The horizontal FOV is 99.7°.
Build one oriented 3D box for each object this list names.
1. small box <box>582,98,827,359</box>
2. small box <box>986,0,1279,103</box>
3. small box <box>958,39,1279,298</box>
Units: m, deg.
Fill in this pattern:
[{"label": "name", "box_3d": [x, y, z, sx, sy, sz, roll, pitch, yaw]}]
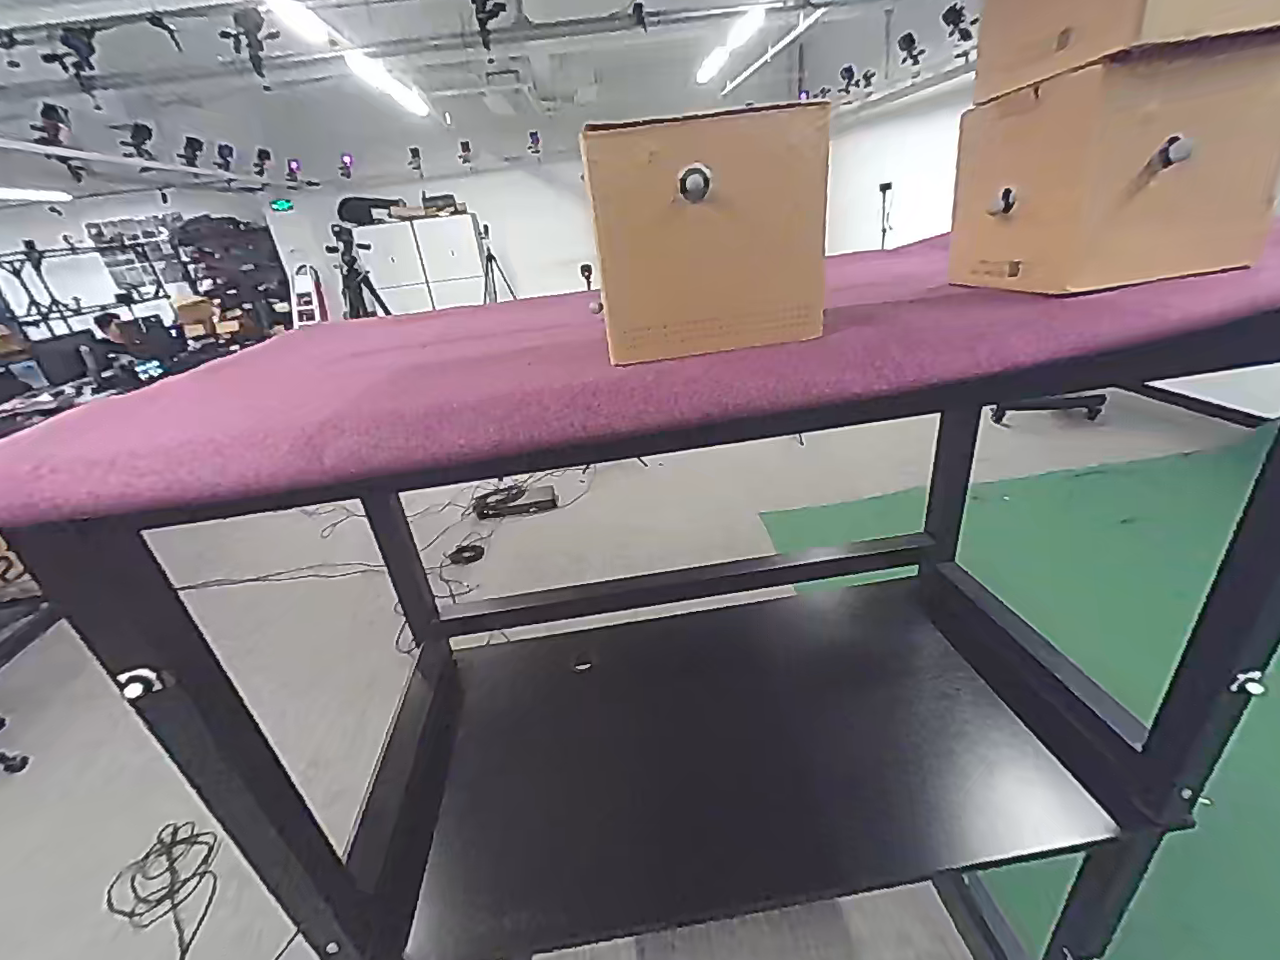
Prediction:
[{"label": "small box", "box_3d": [0.049, -0.210, 0.476, 0.179, 0.176, 0.168, -7, 27, -2]}, {"label": "small box", "box_3d": [0.403, -0.414, 0.422, 0.179, 0.176, 0.168, -9, 24, -2]}, {"label": "small box", "box_3d": [0.424, -0.271, 0.500, 0.179, 0.176, 0.168, -10, 24, -1]}]
